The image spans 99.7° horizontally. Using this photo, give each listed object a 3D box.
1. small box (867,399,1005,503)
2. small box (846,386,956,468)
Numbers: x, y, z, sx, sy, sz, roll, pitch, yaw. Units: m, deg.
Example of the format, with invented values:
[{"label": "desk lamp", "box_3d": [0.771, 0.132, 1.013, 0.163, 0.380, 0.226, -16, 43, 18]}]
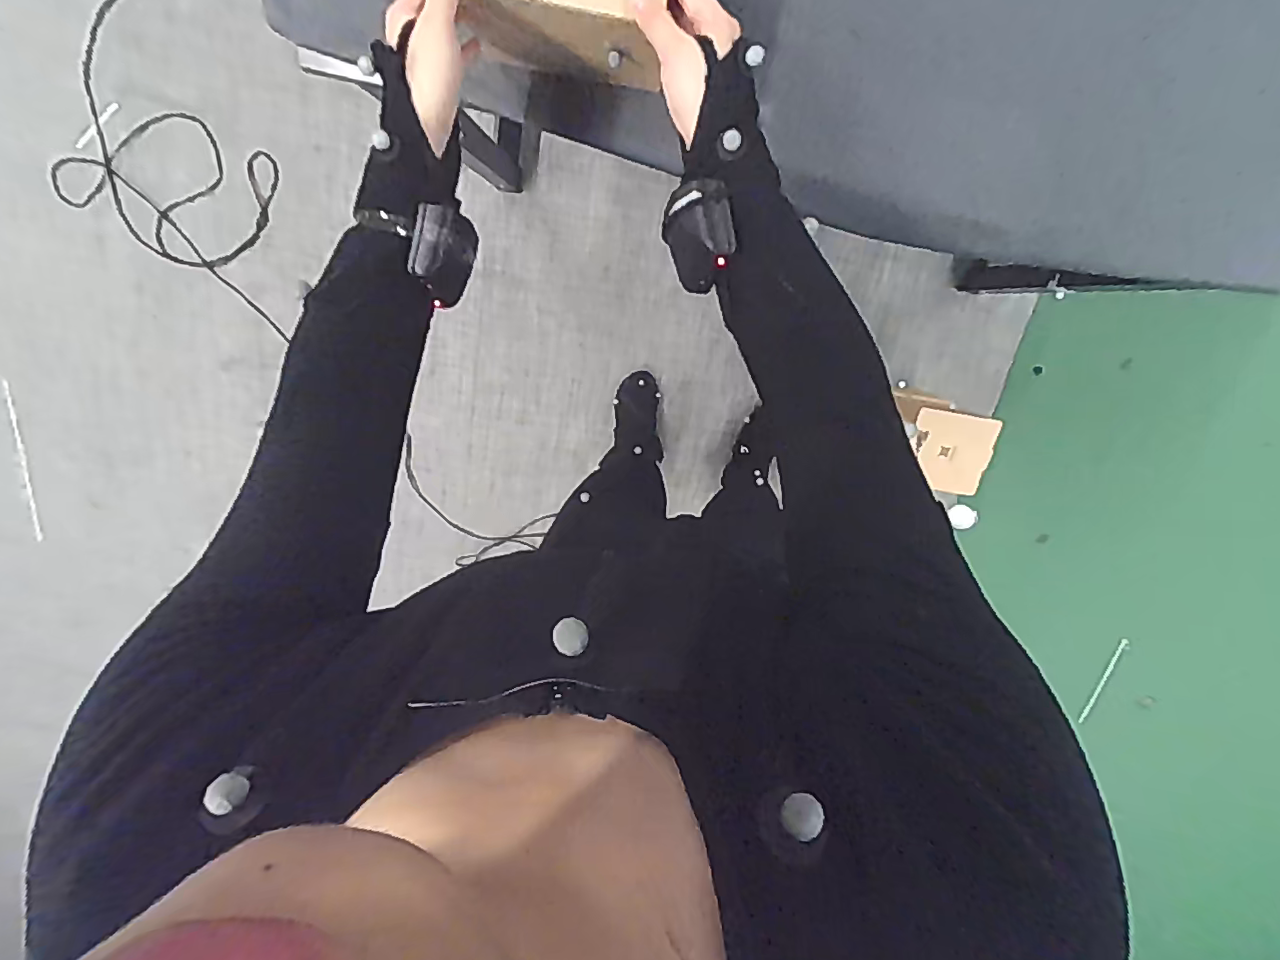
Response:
[{"label": "small box", "box_3d": [0.630, -0.069, 1.173, 0.179, 0.176, 0.168, 11, 109, -3]}, {"label": "small box", "box_3d": [0.628, -0.124, 1.329, 0.168, 0.176, 0.179, 9, 107, -2]}]
